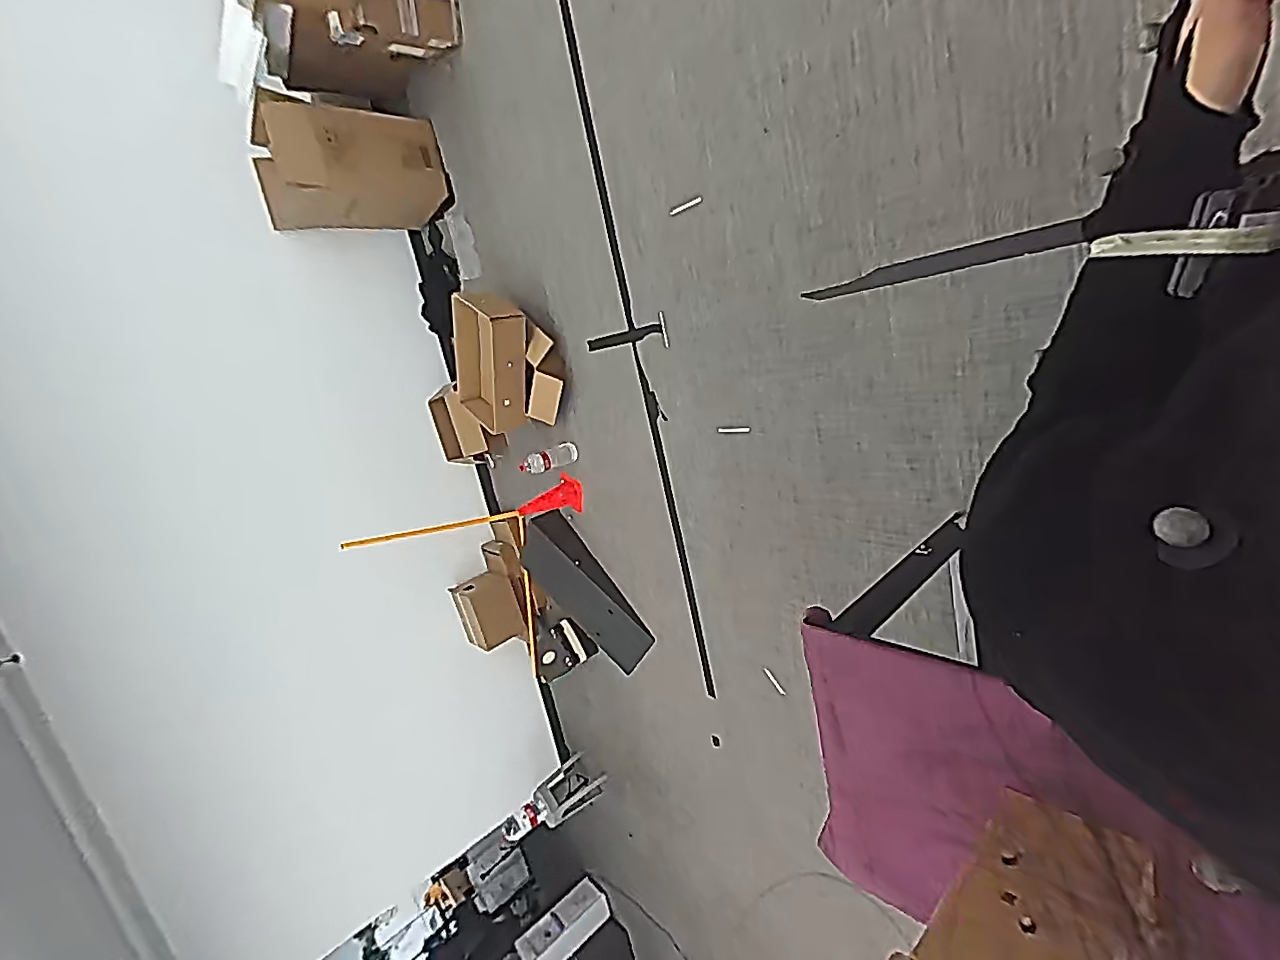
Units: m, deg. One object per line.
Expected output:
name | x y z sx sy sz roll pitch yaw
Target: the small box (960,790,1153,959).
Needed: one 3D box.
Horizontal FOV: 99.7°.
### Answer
small box | 0.578 0.576 0.753 0.179 0.176 0.168 2 110 51
